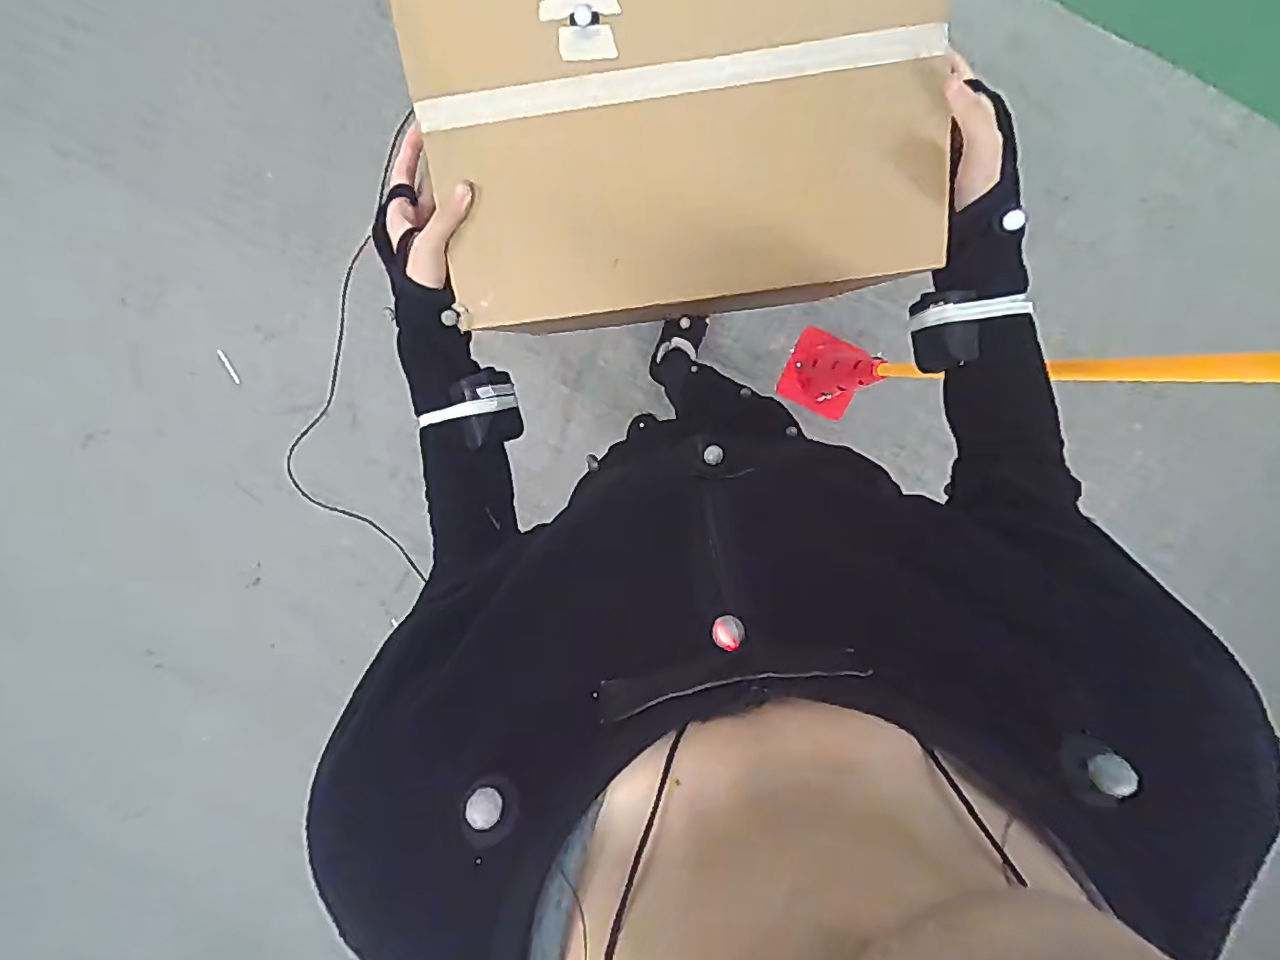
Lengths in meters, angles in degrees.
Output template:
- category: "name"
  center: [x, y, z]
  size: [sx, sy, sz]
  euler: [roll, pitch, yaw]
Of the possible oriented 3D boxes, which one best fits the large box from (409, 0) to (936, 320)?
- category: "large box"
  center: [0.032, -0.350, 0.568]
  size: [0.408, 0.320, 0.320]
  euler: [-6, 105, 2]
